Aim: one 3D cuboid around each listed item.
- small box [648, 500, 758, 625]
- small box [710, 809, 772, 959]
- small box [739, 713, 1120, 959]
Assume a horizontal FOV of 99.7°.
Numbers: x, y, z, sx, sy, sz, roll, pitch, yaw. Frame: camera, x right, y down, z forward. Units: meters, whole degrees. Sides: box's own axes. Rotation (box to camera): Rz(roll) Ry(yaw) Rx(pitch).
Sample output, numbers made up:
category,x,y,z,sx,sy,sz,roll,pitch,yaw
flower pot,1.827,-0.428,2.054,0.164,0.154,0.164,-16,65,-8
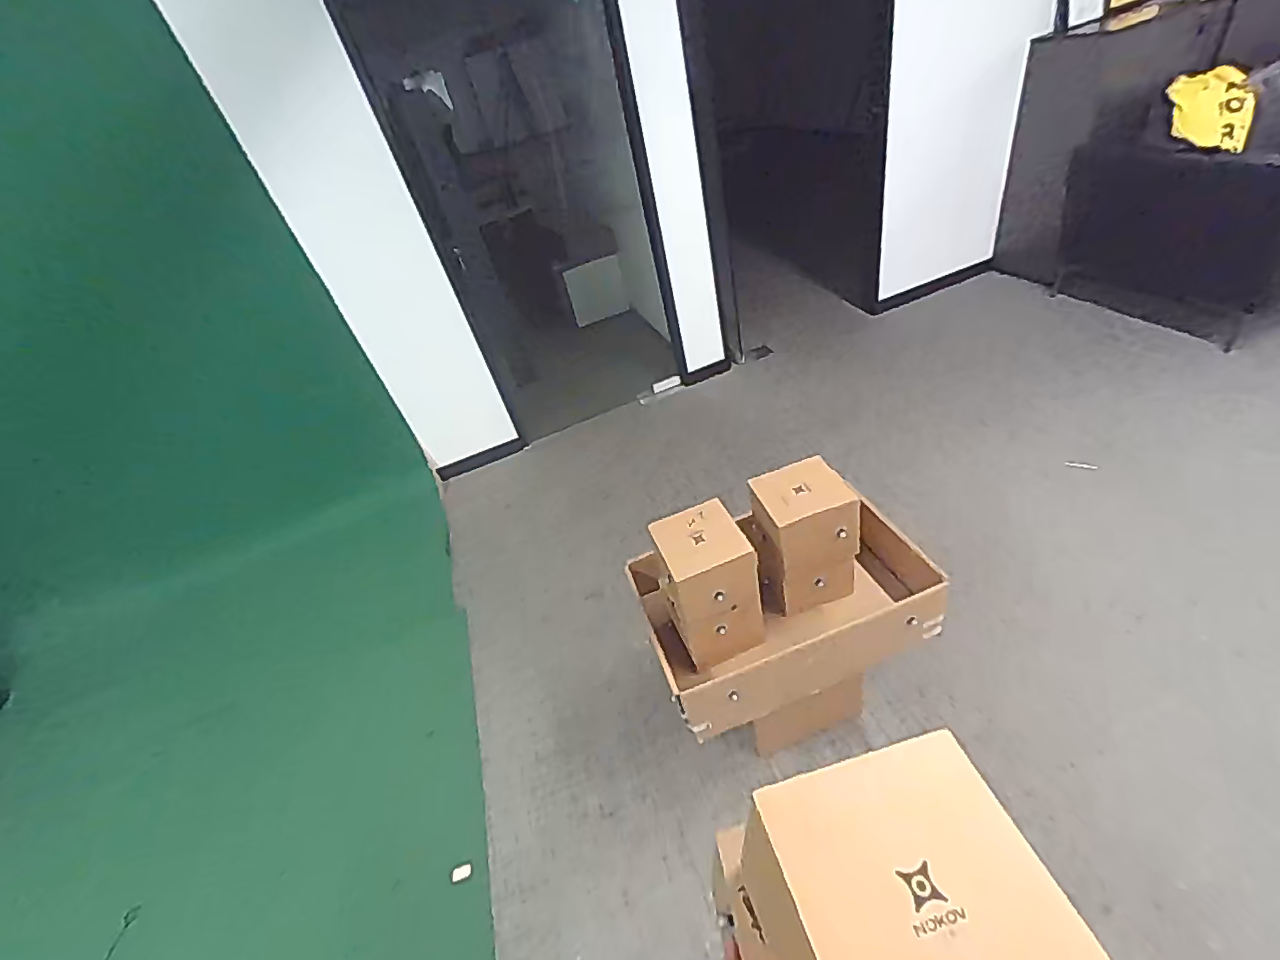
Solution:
category,x,y,z,sx,sy,sz,roll,pitch,yaw
small box,0.134,0.178,1.132,0.168,0.176,0.179,-21,38,-6
small box,0.170,0.422,0.511,0.179,0.176,0.168,-9,39,-5
small box,0.179,0.308,0.391,0.168,0.176,0.179,-13,41,-9
